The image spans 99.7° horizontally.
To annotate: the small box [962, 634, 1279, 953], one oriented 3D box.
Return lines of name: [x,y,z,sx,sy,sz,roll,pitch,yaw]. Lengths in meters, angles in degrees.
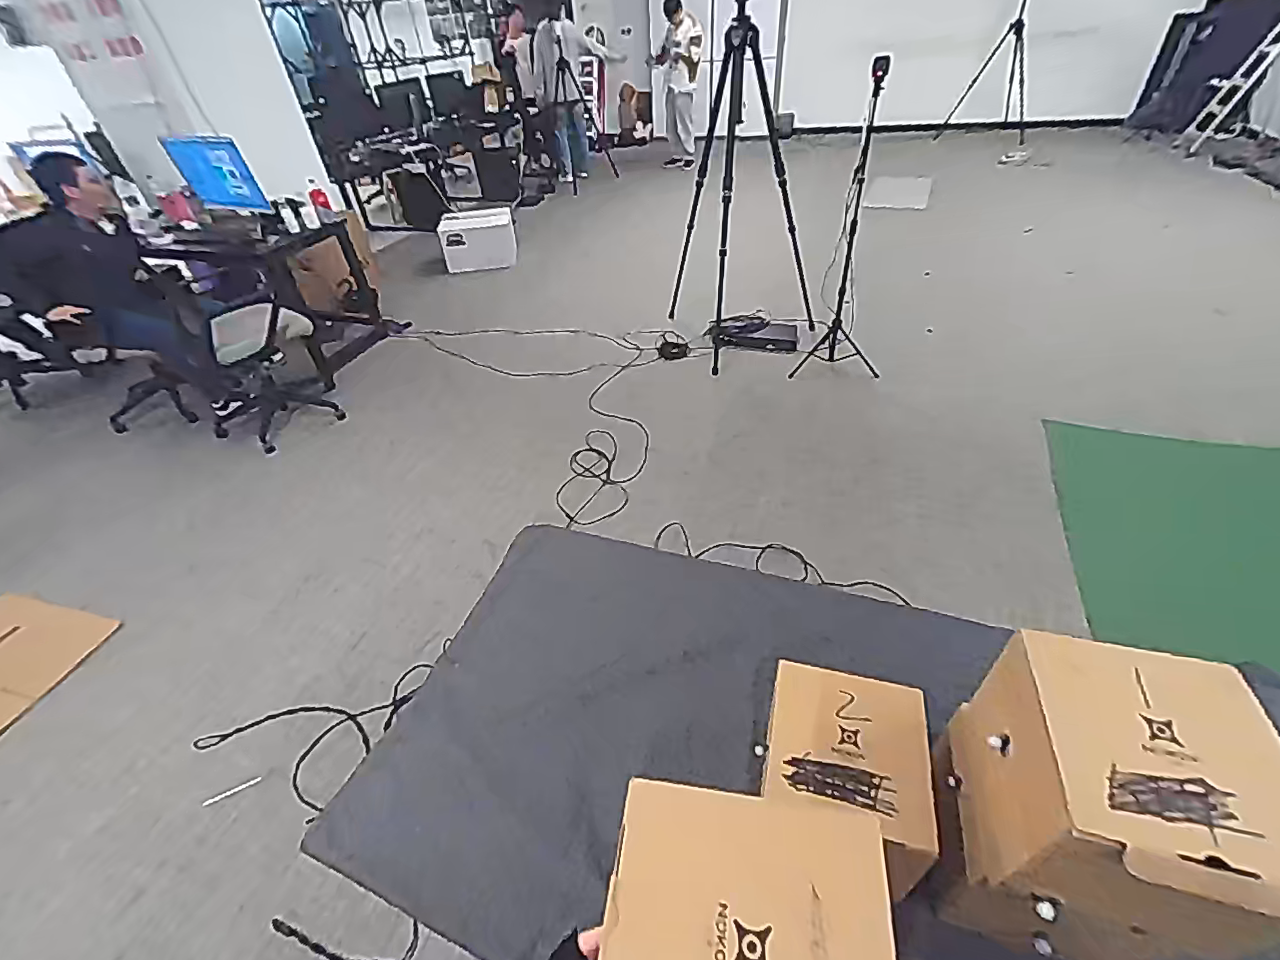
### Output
small box: [0.405,0.270,0.474,0.168,0.176,0.179,8,41,16]

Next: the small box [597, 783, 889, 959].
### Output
small box: [0.071,0.343,0.388,0.179,0.176,0.168,3,48,12]
